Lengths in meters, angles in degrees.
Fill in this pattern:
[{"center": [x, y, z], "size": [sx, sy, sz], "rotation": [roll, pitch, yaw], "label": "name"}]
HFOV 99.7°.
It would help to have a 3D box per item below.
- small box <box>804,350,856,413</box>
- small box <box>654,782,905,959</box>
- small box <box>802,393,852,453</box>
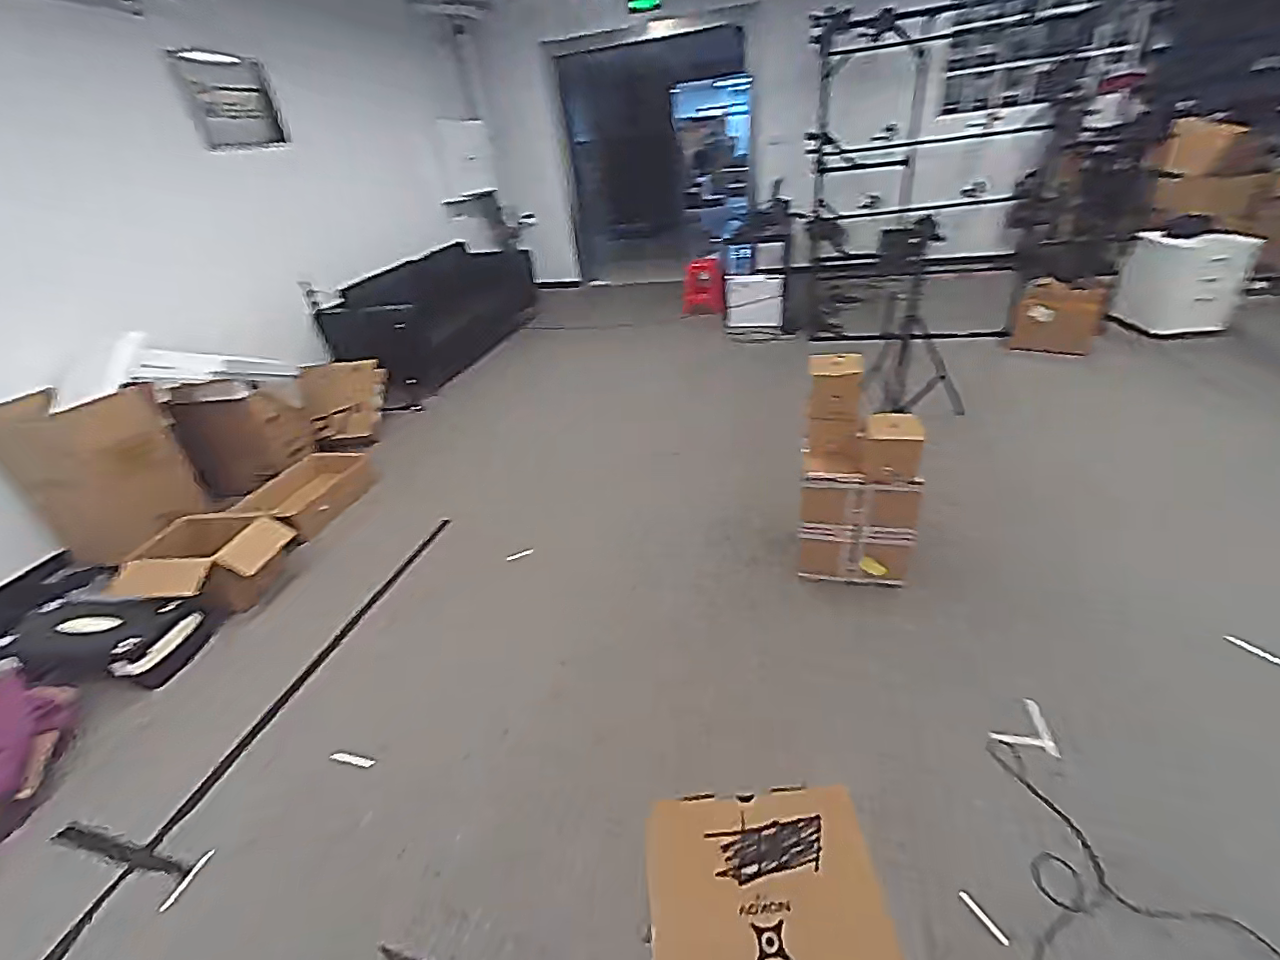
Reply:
[{"center": [0.673, -0.347, 1.919], "size": [0.168, 0.176, 0.179], "rotation": [1, 36, 17], "label": "small box"}, {"center": [0.102, 0.371, 0.426], "size": [0.168, 0.176, 0.179], "rotation": [-7, 38, 3], "label": "small box"}, {"center": [0.694, -0.217, 2.019], "size": [0.168, 0.176, 0.179], "rotation": [0, 35, 16], "label": "small box"}]
